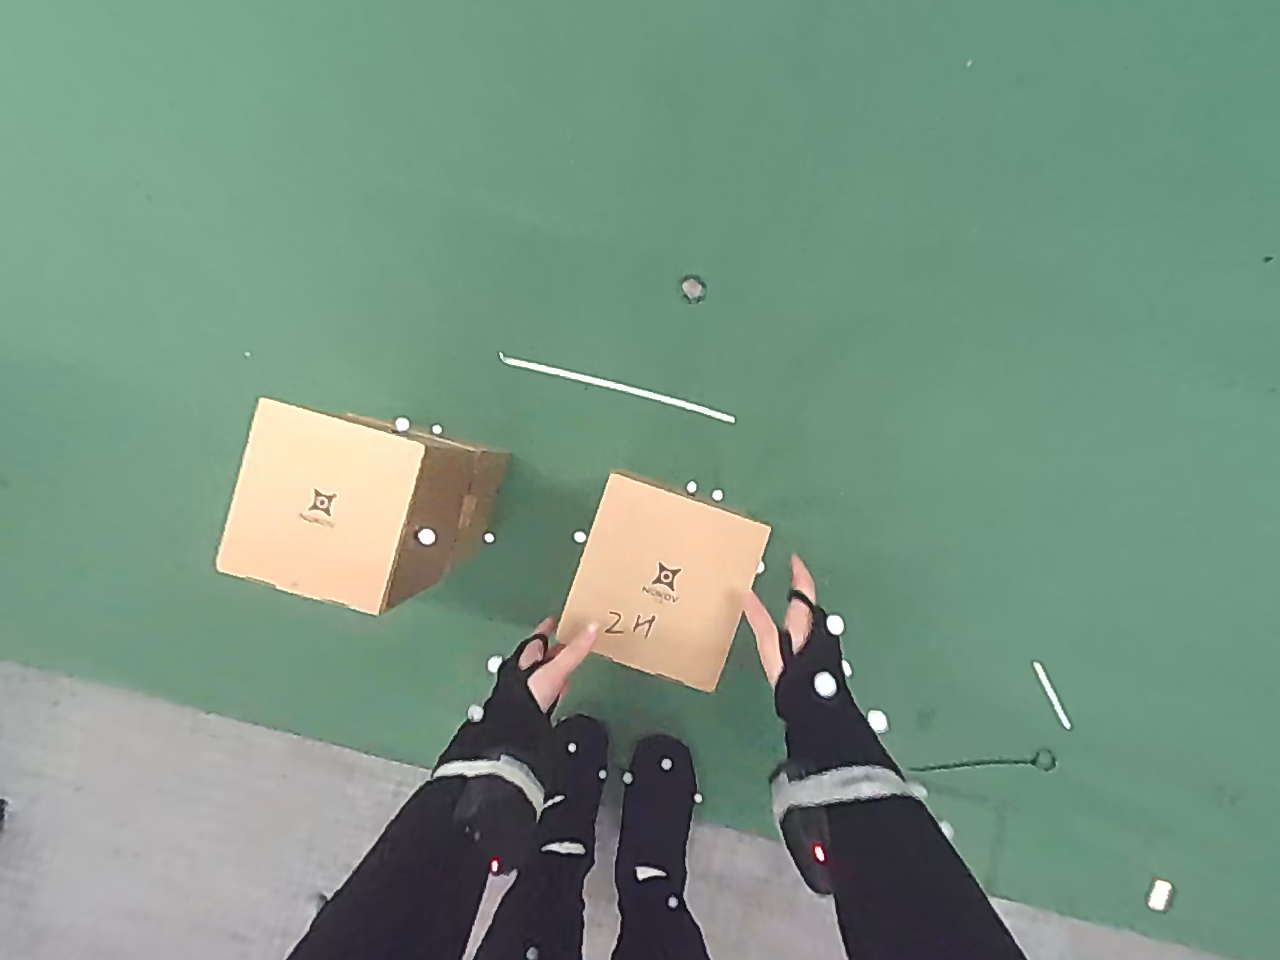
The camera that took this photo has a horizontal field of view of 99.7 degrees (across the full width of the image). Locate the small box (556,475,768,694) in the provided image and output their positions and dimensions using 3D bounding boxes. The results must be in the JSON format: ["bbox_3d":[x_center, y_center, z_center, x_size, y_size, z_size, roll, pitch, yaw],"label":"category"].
[{"bbox_3d":[0.020,0.099,0.604,0.168,0.176,0.179,19,92,-1],"label":"small box"}]

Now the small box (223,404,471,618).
[{"bbox_3d":[-0.305,0.029,0.605,0.168,0.176,0.179,16,92,0],"label":"small box"}]

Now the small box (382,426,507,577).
[{"bbox_3d":[-0.305,0.022,0.767,0.179,0.176,0.168,16,91,1],"label":"small box"}]
